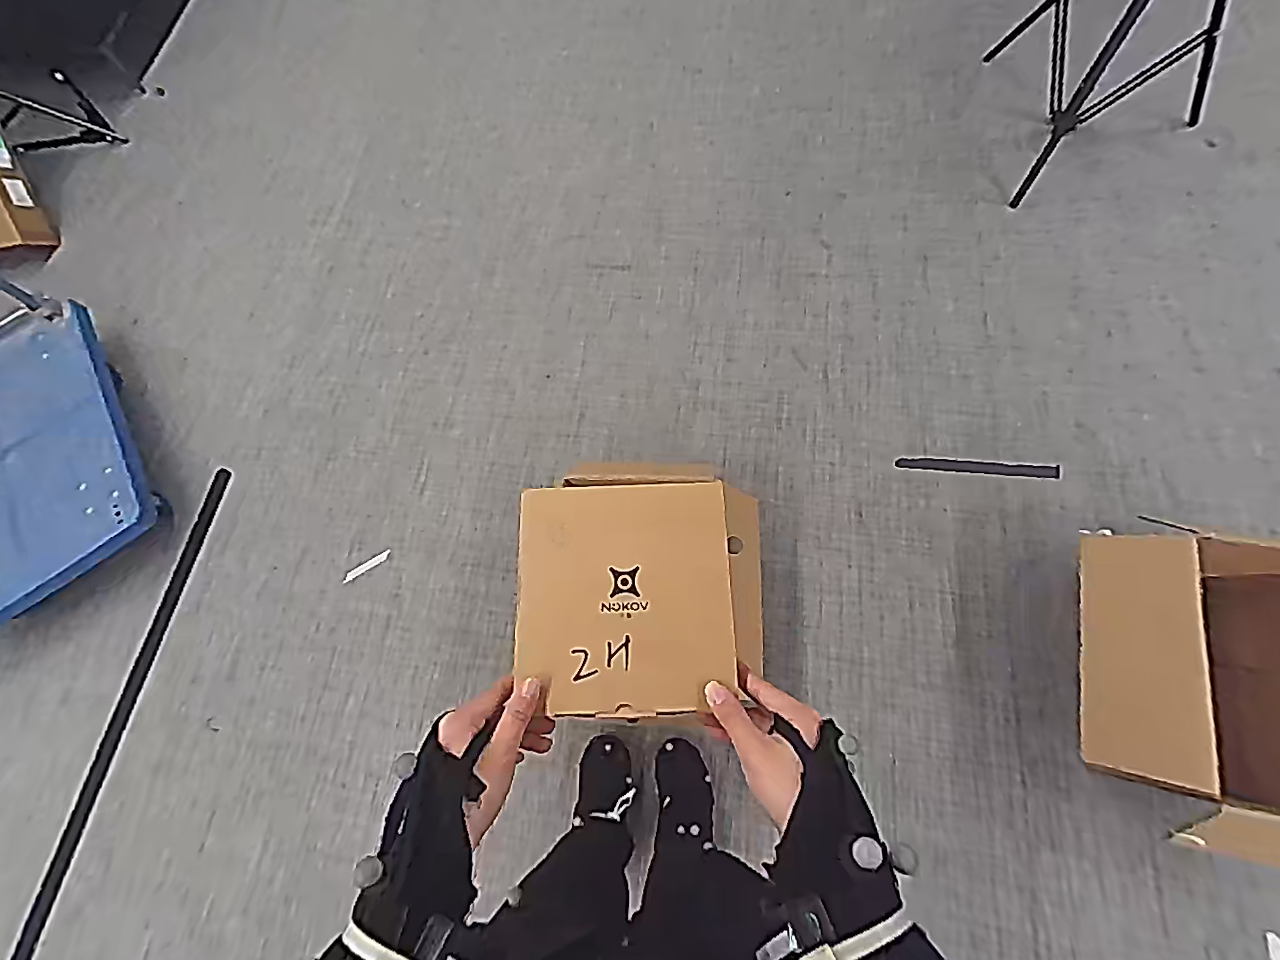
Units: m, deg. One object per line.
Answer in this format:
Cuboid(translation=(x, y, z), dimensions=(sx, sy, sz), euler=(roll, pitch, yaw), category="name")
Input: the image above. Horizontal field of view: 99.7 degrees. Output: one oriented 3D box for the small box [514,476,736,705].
Cuboid(translation=(-0.010, 0.105, 0.494), dimensions=(0.168, 0.176, 0.179), euler=(-2, 73, 2), category="small box")
